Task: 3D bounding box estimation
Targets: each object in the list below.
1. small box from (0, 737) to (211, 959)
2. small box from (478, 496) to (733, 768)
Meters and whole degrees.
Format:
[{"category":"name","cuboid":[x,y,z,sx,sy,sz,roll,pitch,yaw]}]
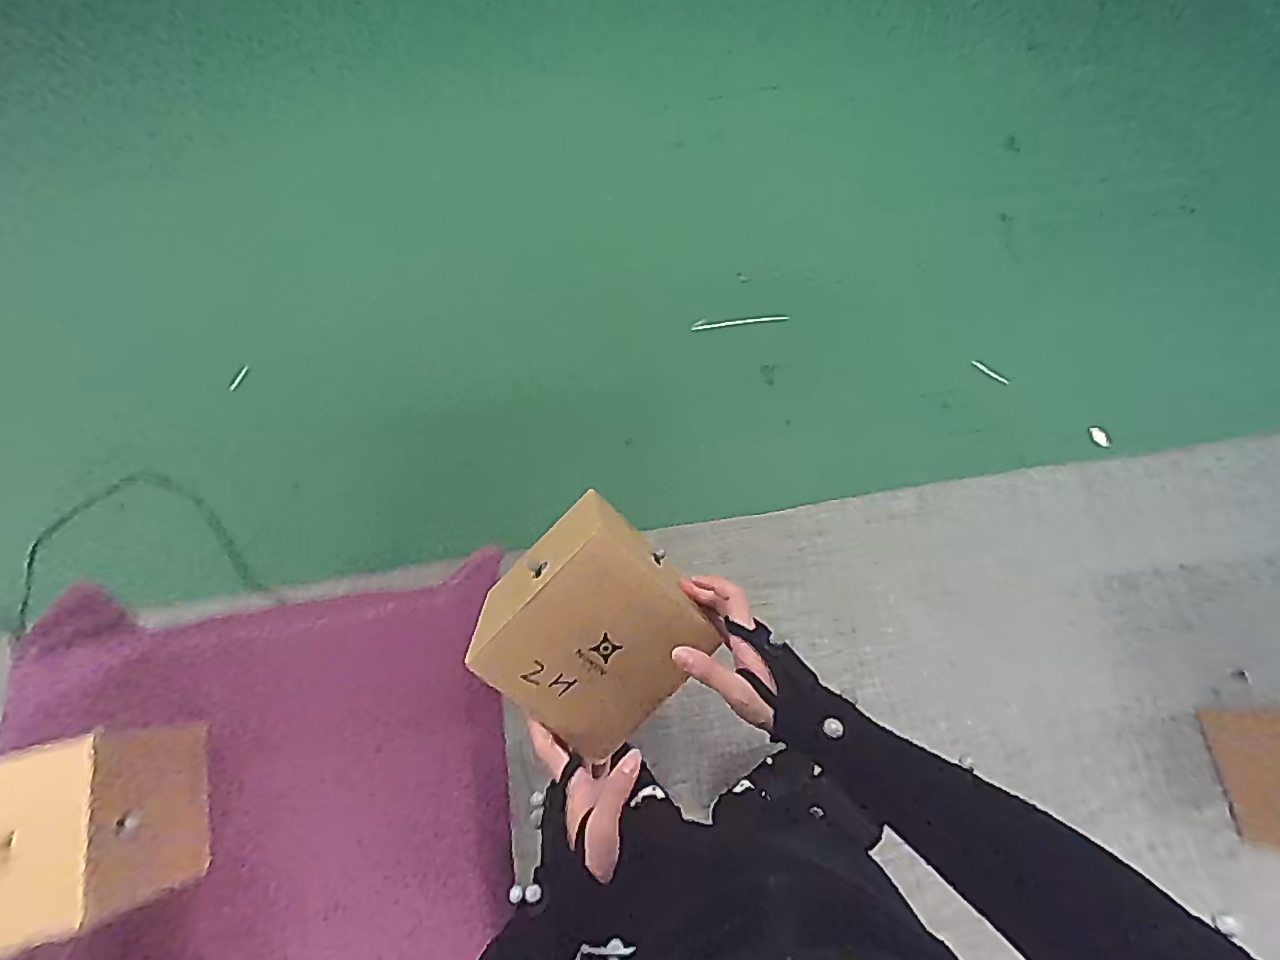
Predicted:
[{"category":"small box","cuboid":[-0.628,0.405,0.611,0.168,0.176,0.179,-15,73,-6]},{"category":"small box","cuboid":[-0.039,0.140,0.563,0.179,0.176,0.168,-44,103,3]}]
